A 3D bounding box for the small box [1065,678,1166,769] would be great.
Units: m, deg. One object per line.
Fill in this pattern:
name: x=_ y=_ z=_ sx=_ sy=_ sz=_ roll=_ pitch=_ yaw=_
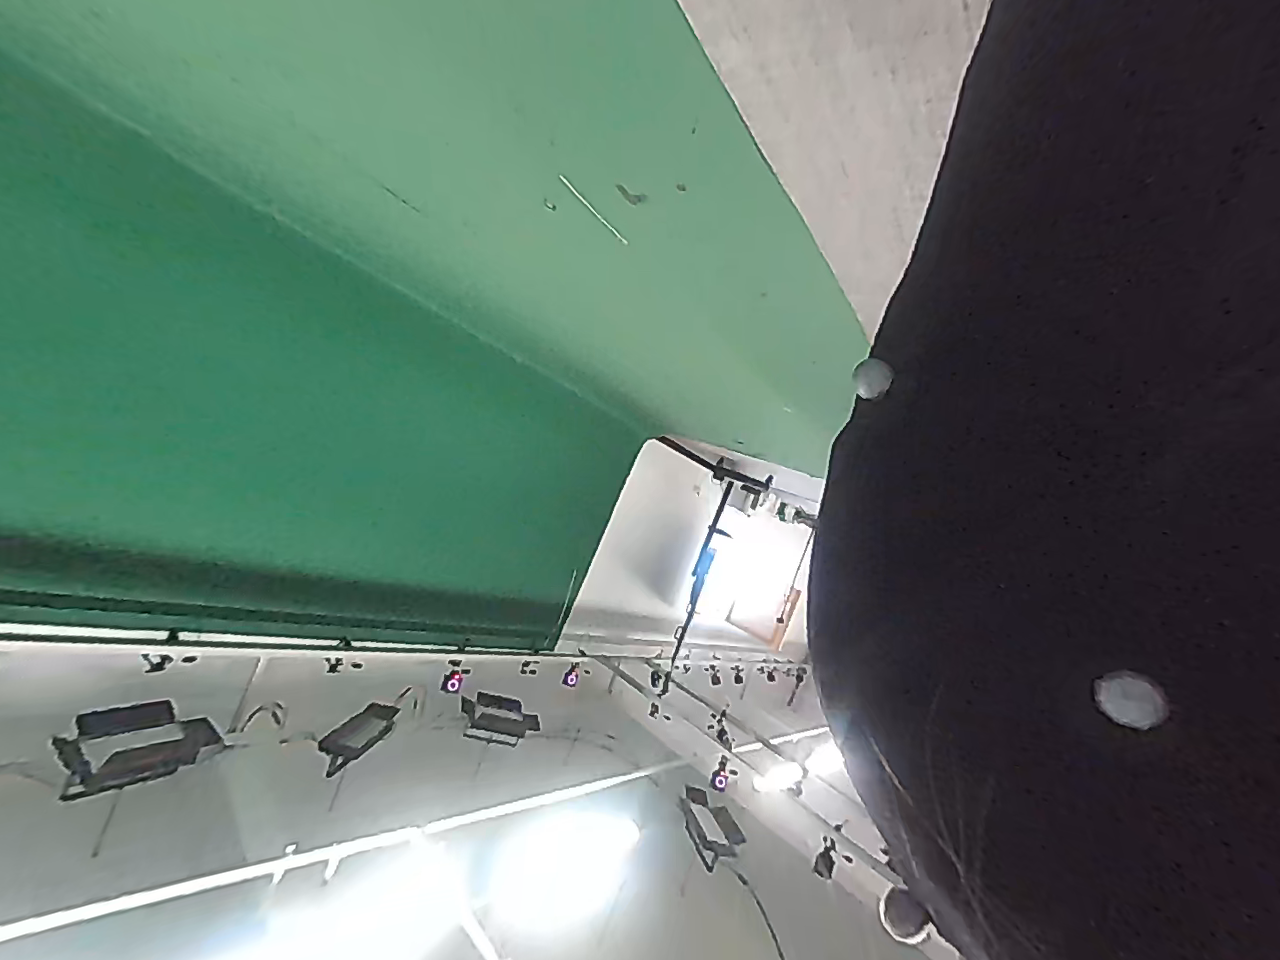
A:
small box: x=1.320 y=0.668 z=1.499 sx=0.179 sy=0.176 sz=0.168 roll=24 pitch=177 yaw=-40
